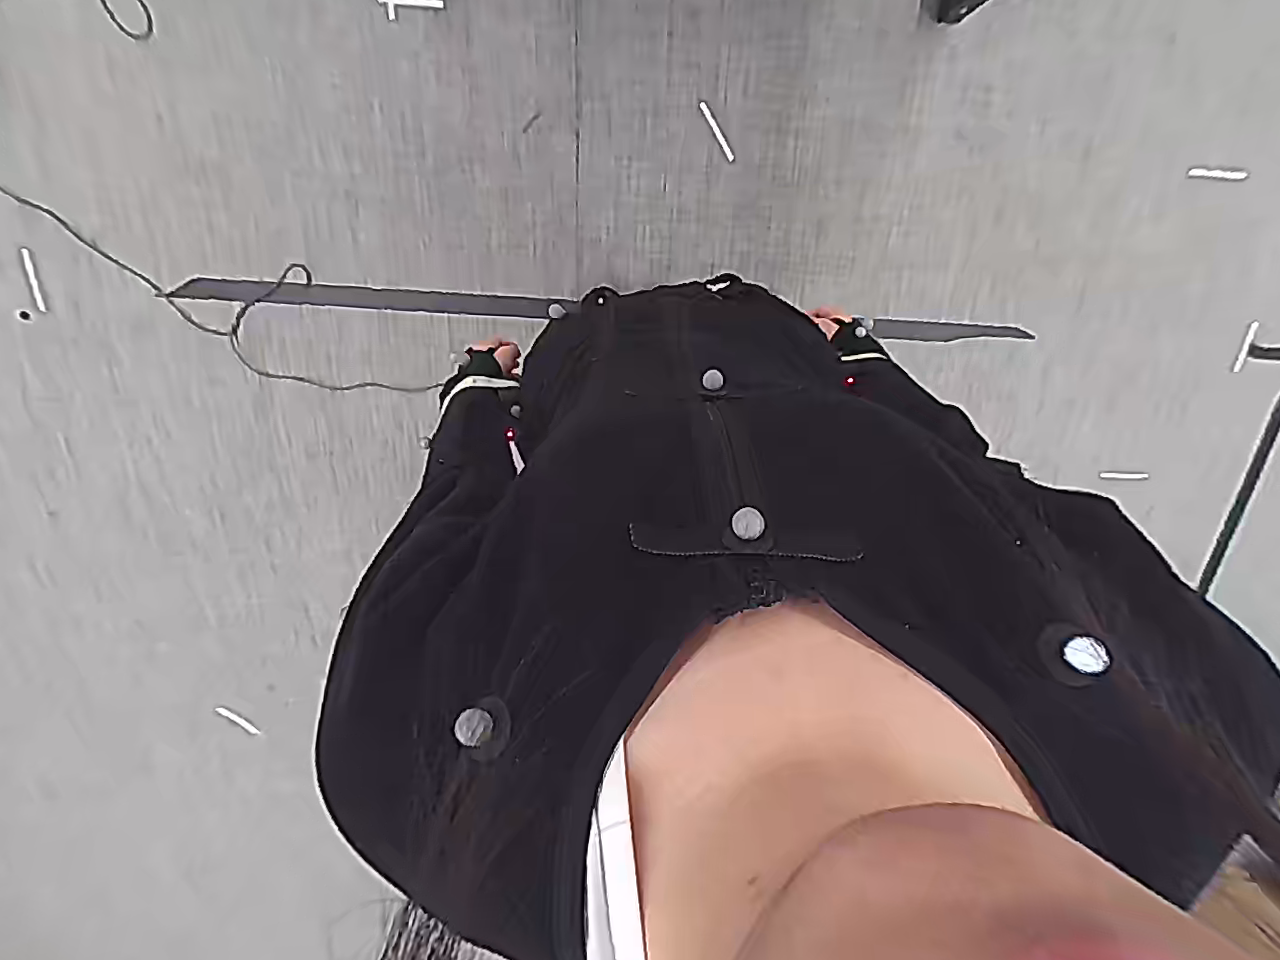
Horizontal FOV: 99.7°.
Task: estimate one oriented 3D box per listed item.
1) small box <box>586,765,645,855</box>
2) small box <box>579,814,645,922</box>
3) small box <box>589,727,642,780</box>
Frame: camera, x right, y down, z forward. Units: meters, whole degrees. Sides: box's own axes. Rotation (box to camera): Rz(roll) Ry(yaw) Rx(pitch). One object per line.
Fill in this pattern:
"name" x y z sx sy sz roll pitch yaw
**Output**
"small box" -0.071 0.992 1.622 0.168 0.176 0.179 -4 111 -2
"small box" -0.072 1.047 1.466 0.168 0.176 0.179 -4 109 -2
"small box" -0.082 0.933 1.774 0.168 0.176 0.179 -2 110 -3
